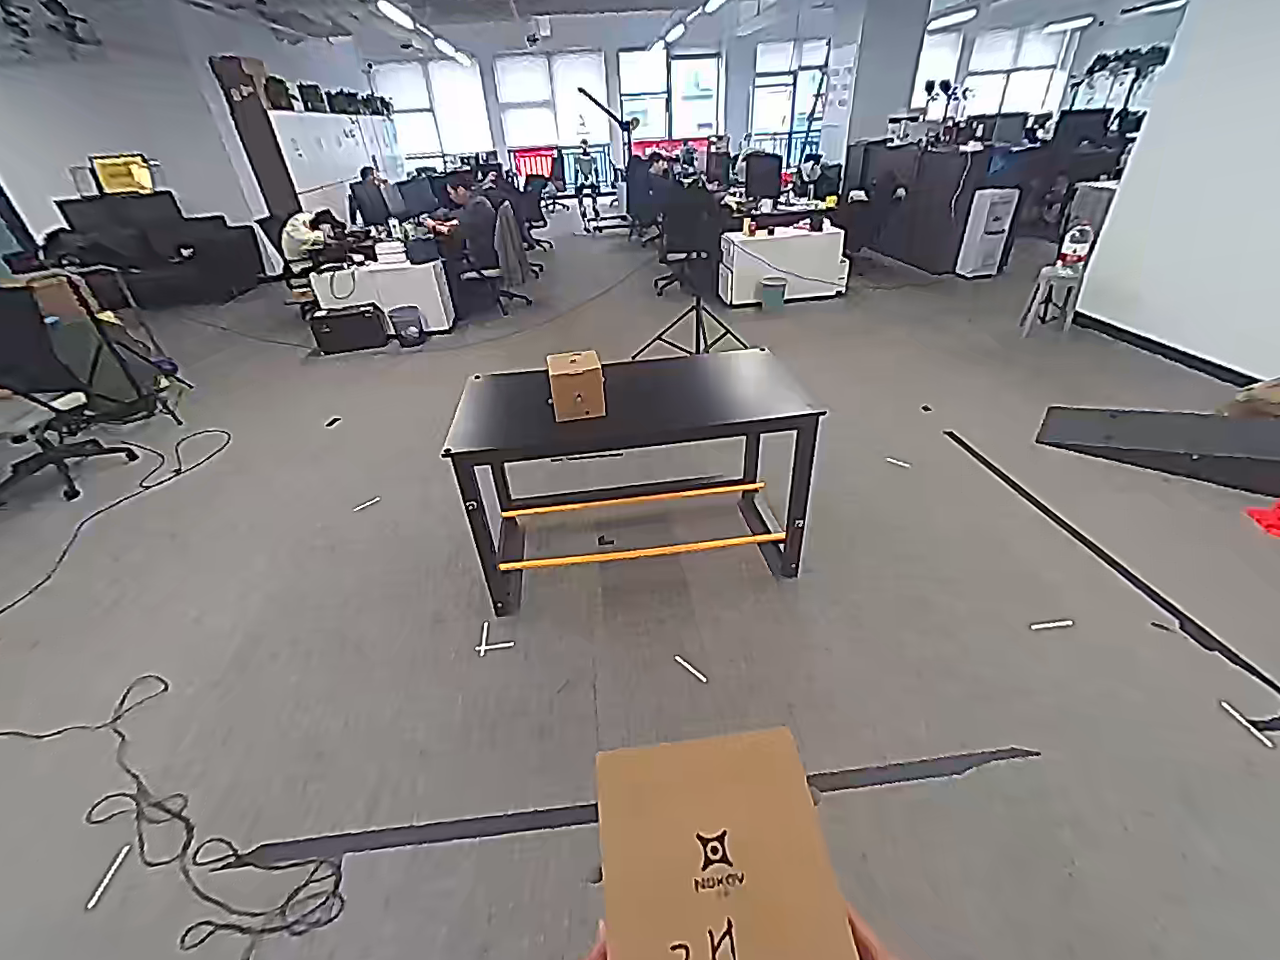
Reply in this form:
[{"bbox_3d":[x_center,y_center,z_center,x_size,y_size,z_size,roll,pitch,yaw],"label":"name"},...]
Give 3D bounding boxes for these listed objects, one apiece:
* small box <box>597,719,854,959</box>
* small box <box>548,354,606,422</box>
[{"bbox_3d":[0.056,0.329,0.454,0.168,0.176,0.179,-7,46,-2],"label":"small box"},{"bbox_3d":[-0.212,-0.302,1.813,0.168,0.176,0.179,-9,34,-7],"label":"small box"}]
